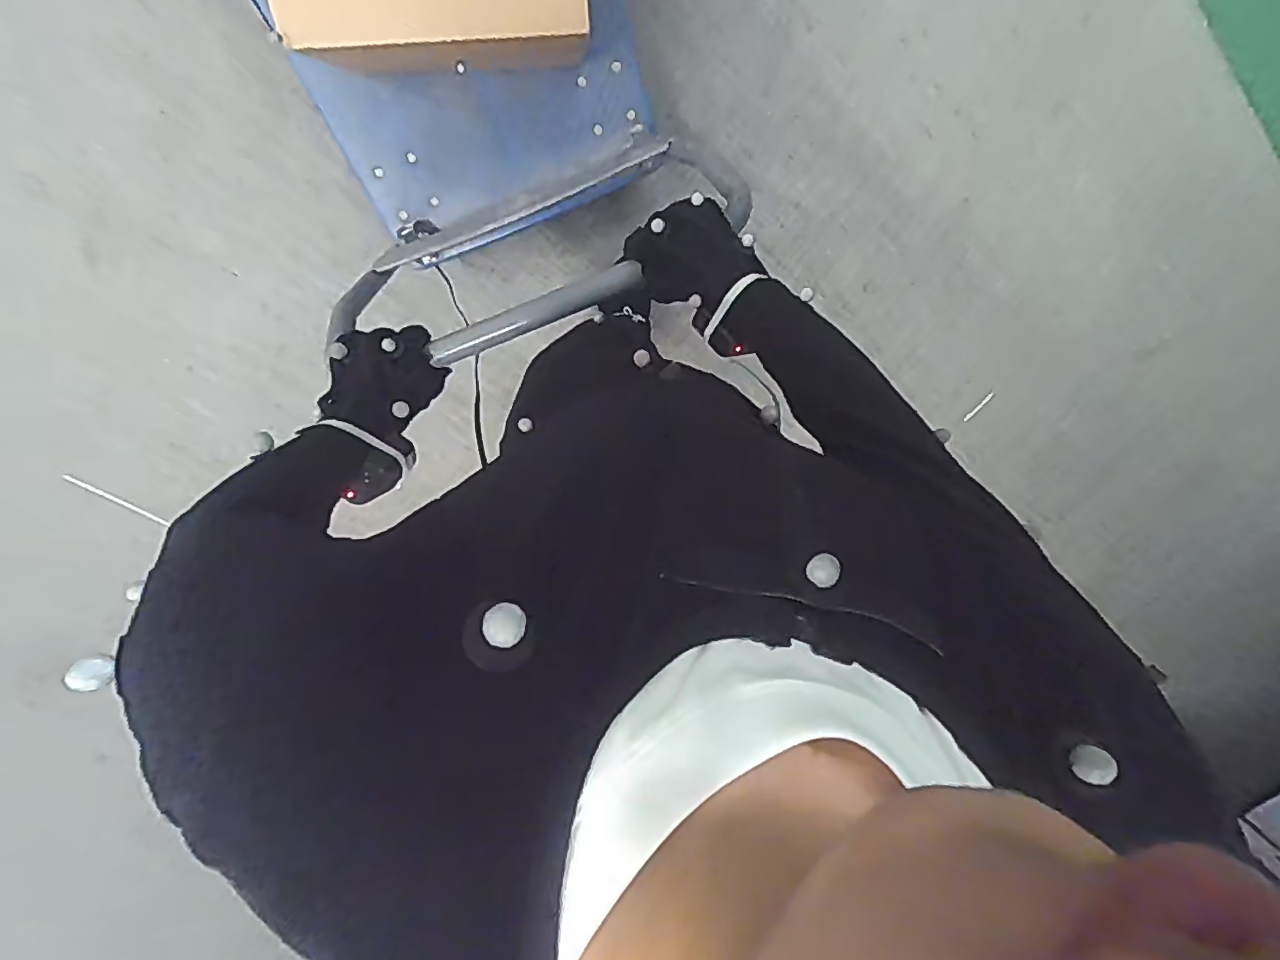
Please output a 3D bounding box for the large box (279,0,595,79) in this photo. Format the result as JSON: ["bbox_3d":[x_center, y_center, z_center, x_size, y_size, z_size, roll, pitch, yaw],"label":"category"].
[{"bbox_3d":[-0.286,-0.790,0.774,0.408,0.320,0.320,-7,122,-3],"label":"large box"}]
